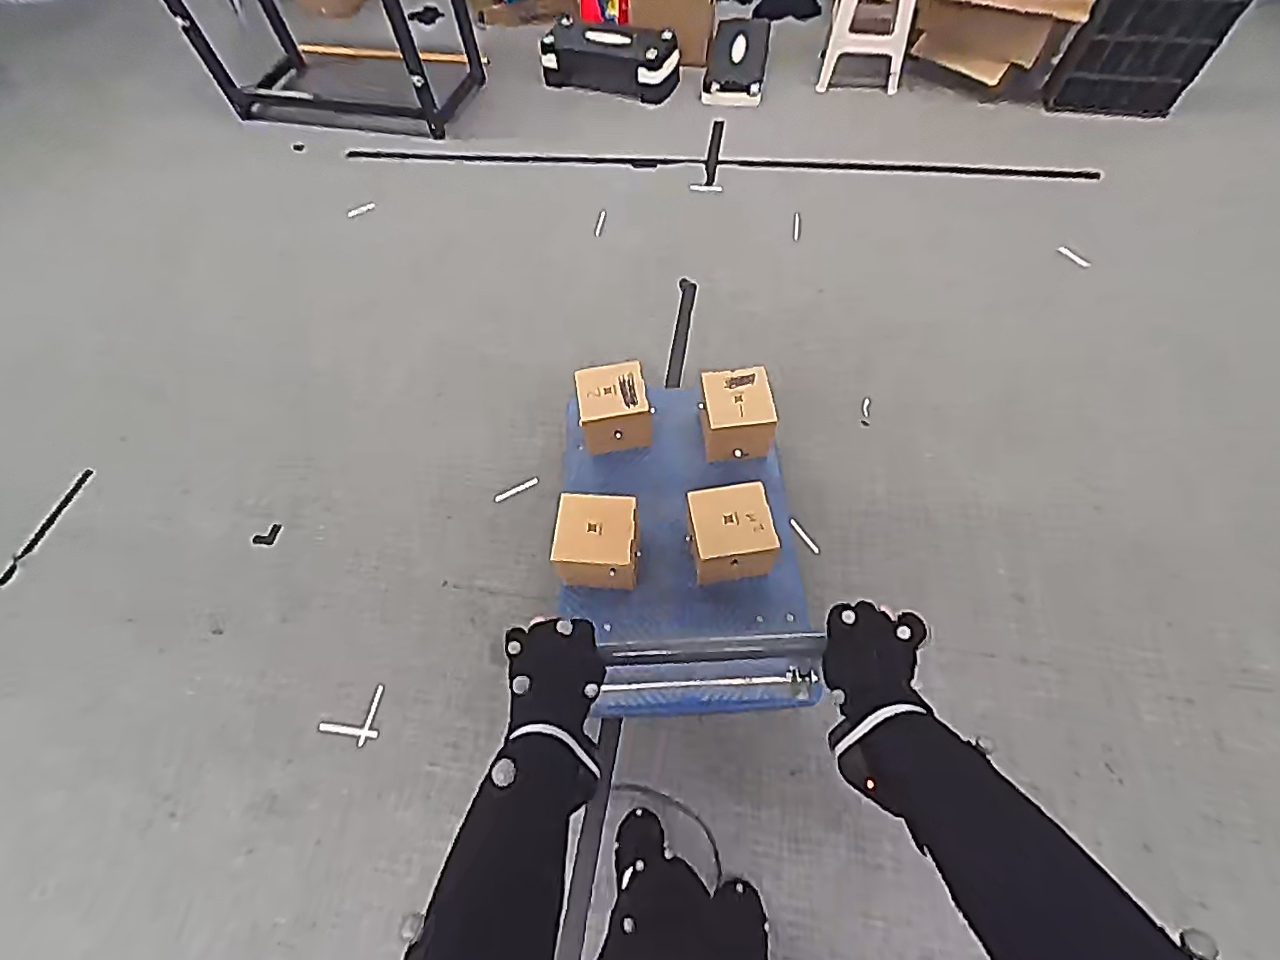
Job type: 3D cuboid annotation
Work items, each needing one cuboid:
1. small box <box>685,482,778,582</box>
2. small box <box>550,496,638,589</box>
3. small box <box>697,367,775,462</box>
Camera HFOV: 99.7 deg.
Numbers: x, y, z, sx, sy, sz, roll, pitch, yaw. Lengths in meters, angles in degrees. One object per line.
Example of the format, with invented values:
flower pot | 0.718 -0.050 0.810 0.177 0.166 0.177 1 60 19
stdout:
small box | 0.204 0.127 1.251 0.179 0.176 0.168 -9 61 -1
small box | -0.100 0.150 1.261 0.179 0.176 0.168 2 61 4
small box | 0.243 -0.168 1.414 0.168 0.176 0.179 -7 62 1
